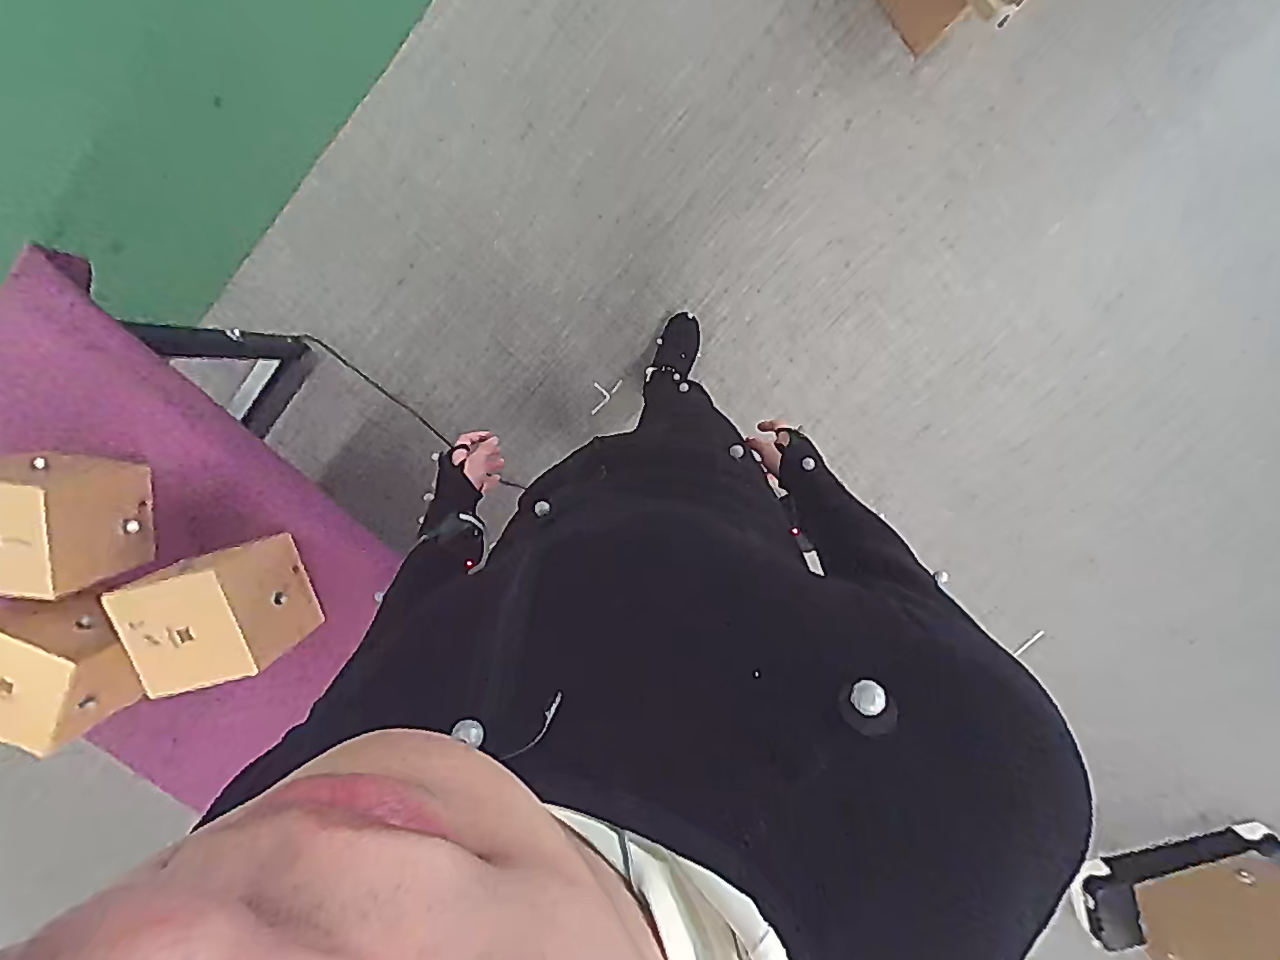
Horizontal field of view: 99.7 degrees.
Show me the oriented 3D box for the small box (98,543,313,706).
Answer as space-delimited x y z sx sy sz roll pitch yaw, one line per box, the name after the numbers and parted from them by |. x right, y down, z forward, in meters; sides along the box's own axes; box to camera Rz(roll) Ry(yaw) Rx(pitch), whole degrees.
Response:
-0.645 0.211 0.835 0.179 0.176 0.168 -15 101 3 | small box

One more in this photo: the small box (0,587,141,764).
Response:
-0.918 0.295 0.855 0.168 0.176 0.179 26 100 -6 | small box

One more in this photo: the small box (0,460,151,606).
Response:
-0.890 0.069 0.806 0.179 0.176 0.168 7 102 -3 | small box
